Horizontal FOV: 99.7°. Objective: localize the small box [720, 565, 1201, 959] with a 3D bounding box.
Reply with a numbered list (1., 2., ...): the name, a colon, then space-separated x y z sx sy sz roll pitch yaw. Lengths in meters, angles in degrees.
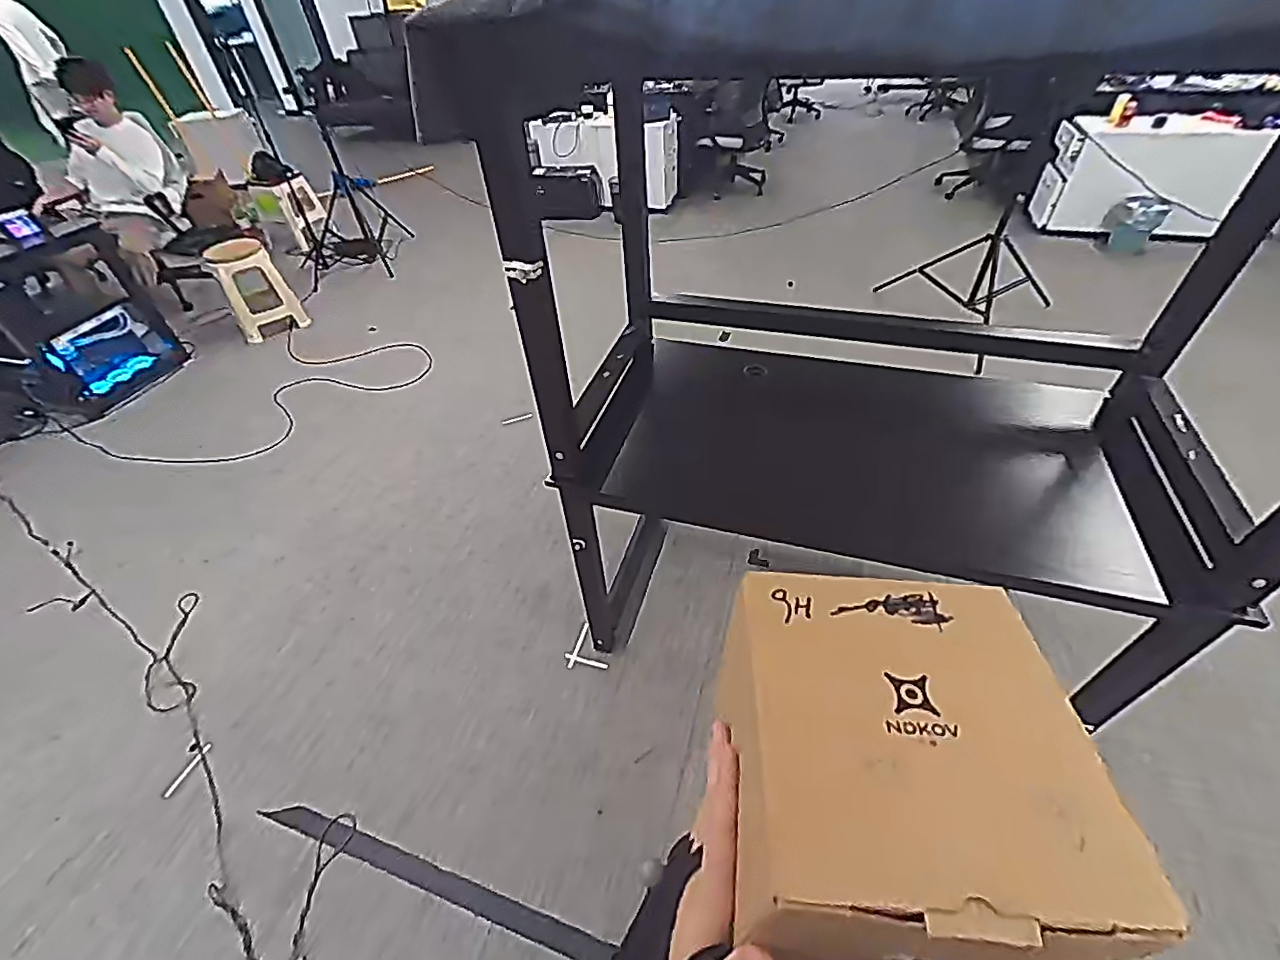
1. small box: 0.141 0.176 0.326 0.168 0.176 0.179 4 41 2
